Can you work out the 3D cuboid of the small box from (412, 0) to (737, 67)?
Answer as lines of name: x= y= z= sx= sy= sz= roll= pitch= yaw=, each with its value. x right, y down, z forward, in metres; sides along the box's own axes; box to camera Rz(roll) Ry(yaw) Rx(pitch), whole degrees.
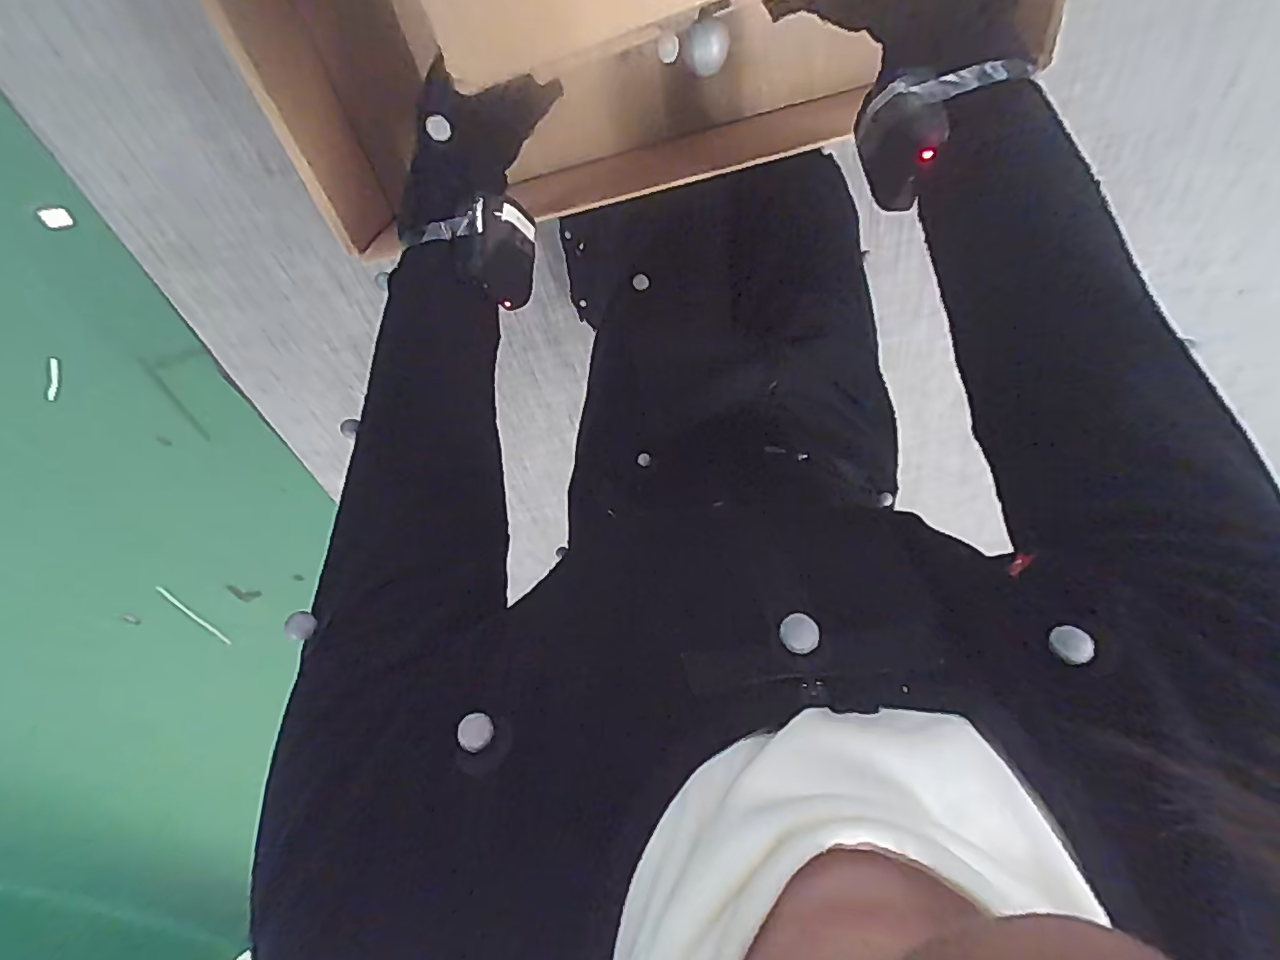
small box: x=0.004 y=-0.232 z=0.135 sx=0.168 sy=0.176 sz=0.179 roll=-13 pitch=128 yaw=9
